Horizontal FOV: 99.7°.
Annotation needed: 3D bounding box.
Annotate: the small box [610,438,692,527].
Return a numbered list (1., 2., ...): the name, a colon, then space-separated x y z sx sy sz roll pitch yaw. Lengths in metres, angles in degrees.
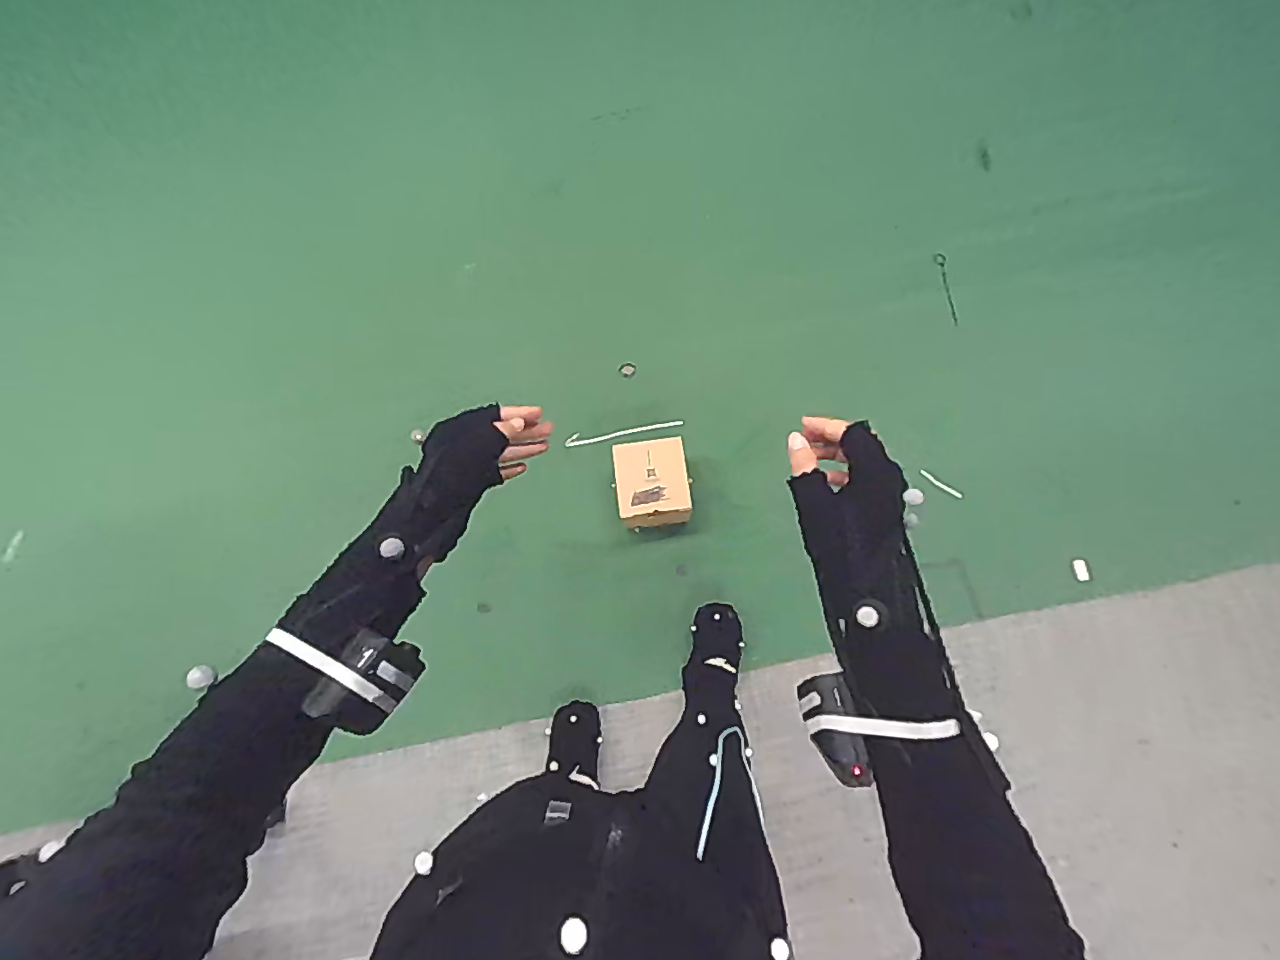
1. small box: 0.027 0.015 1.308 0.168 0.176 0.179 -10 77 -1
